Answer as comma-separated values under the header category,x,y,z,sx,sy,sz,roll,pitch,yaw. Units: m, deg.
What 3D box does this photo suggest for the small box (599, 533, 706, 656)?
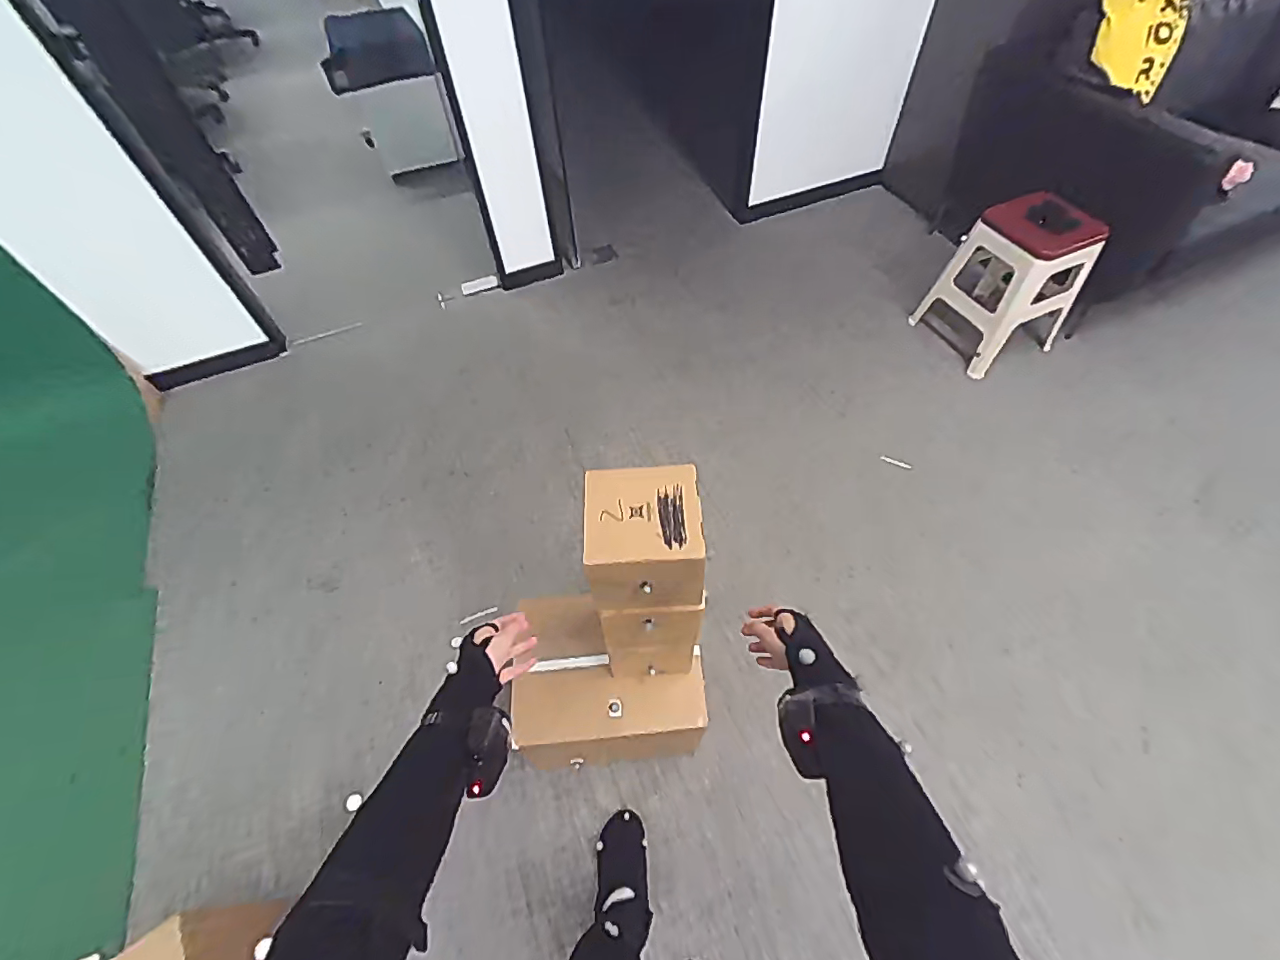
category,x,y,z,sx,sy,sz,roll,pitch,yaw
small box,0.020,0.213,0.988,0.179,0.176,0.168,-3,53,0

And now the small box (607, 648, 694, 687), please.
category,x,y,z,sx,sy,sz,roll,pitch,yaw
small box,0.016,0.310,1.117,0.168,0.176,0.179,-4,53,-1

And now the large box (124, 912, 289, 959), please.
category,x,y,z,sx,sy,sz,roll,pitch,yaw
large box,-0.864,1.052,0.922,0.408,0.320,0.320,-33,59,-18
